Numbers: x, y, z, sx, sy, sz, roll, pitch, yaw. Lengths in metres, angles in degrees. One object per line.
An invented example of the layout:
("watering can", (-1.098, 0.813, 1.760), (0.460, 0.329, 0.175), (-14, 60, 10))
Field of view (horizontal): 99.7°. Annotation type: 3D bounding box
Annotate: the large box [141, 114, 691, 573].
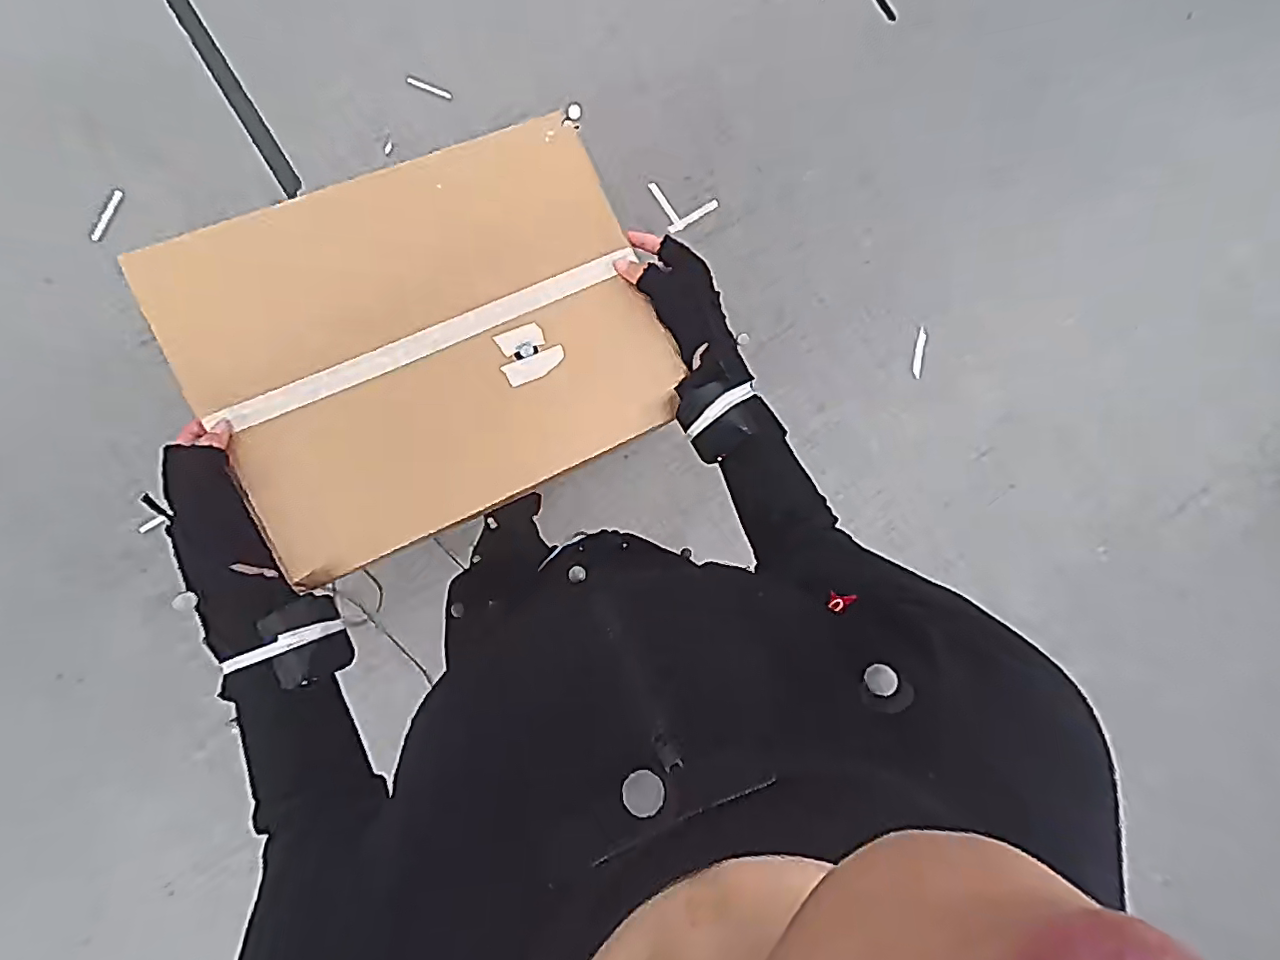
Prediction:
("large box", (-0.216, -0.133, 0.646), (0.408, 0.320, 0.320), (-26, 95, -12))
